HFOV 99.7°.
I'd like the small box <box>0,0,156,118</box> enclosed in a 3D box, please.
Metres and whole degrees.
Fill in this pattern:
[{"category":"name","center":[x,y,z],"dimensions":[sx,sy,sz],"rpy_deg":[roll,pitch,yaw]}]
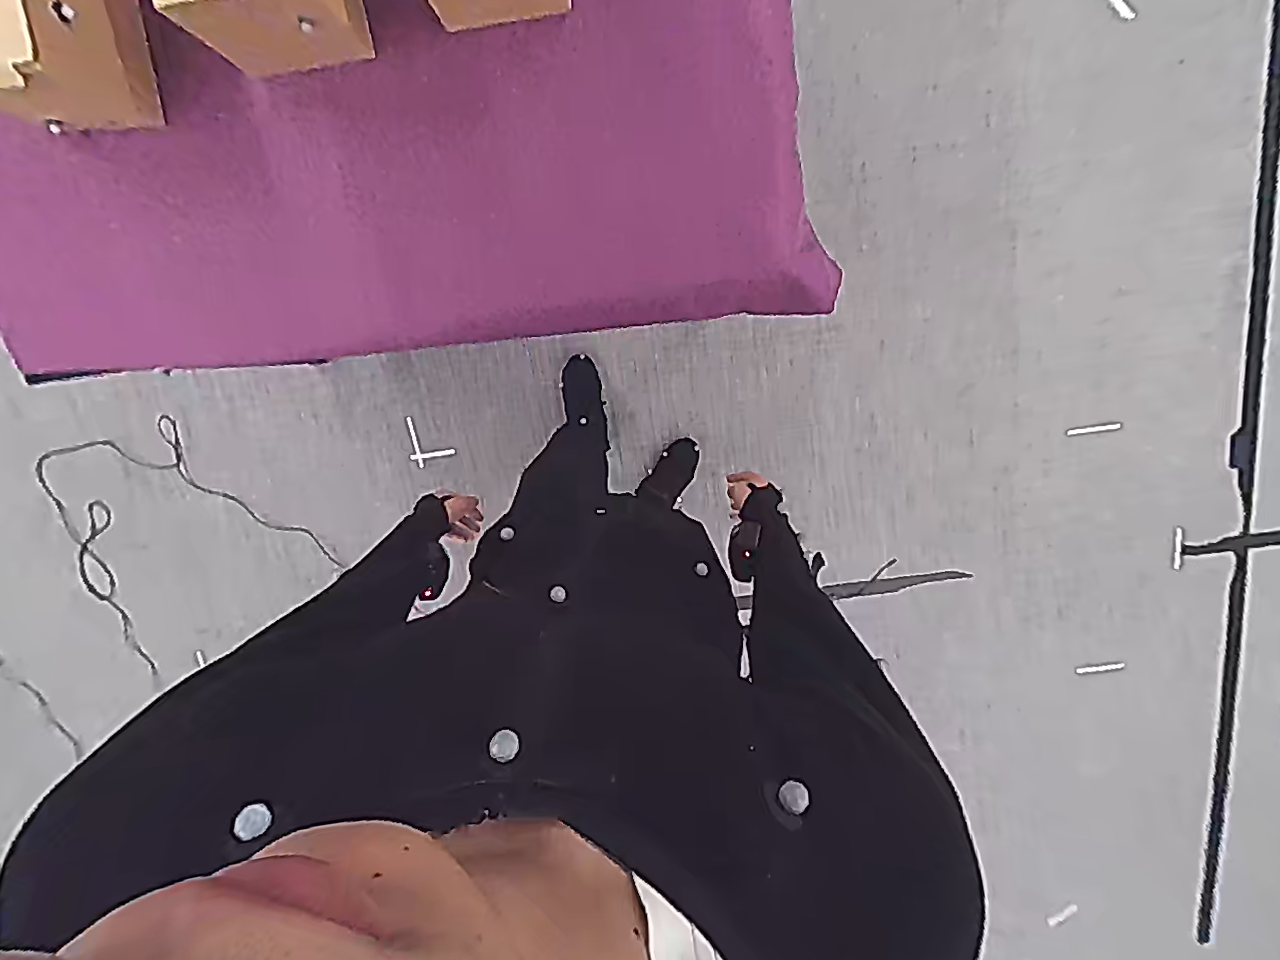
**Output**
[{"category":"small box","center":[-0.753,-0.568,0.662],"dimensions":[0.168,0.176,0.179],"rpy_deg":[-2,103,0]}]
